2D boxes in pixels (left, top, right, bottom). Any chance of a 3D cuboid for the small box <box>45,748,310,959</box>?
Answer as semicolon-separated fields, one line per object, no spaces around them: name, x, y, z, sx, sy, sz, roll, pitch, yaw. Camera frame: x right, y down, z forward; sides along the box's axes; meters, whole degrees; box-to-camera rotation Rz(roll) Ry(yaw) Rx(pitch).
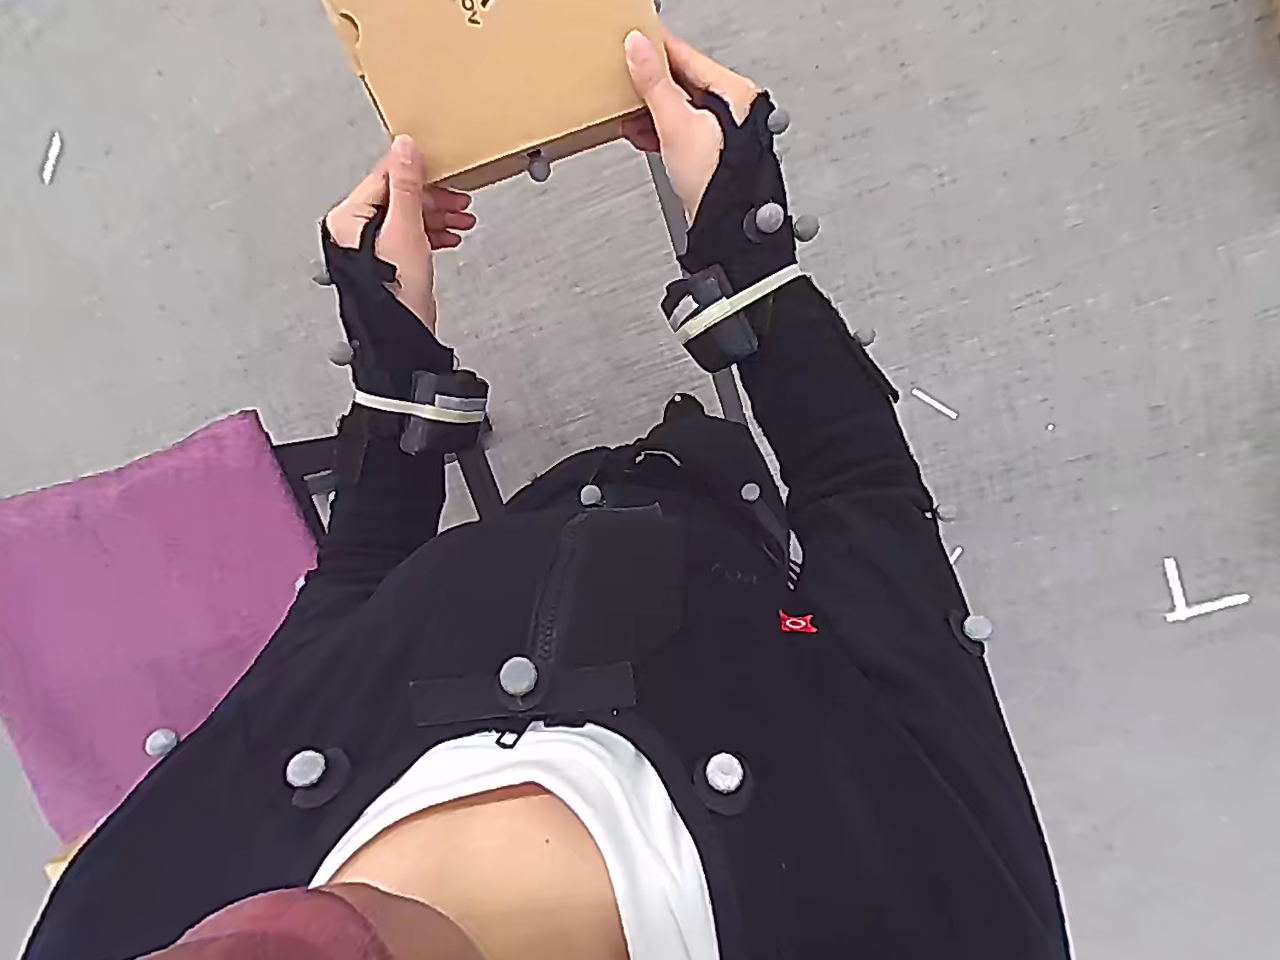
small box;-0.589;0.488;0.711;0.179;0.176;0.168;-16;98;10

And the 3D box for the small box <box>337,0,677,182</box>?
small box;-0.088;-0.318;0.365;0.179;0.176;0.168;-17;117;4
